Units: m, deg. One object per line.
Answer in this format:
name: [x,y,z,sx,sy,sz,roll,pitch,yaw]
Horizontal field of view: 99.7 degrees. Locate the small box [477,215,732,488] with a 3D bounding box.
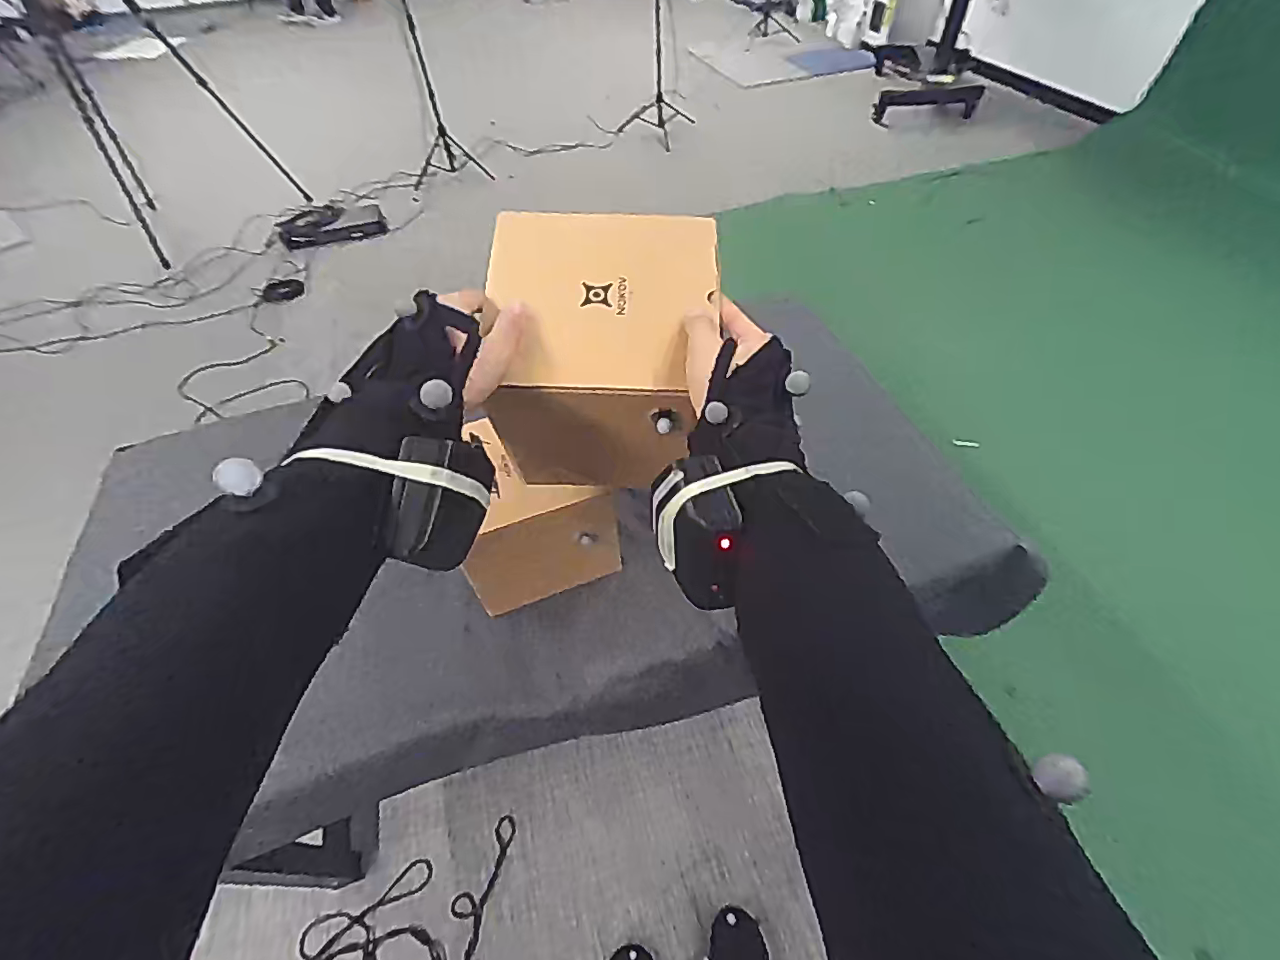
small box: [-0.022,-0.100,0.468,0.179,0.176,0.168,2,65,0]
